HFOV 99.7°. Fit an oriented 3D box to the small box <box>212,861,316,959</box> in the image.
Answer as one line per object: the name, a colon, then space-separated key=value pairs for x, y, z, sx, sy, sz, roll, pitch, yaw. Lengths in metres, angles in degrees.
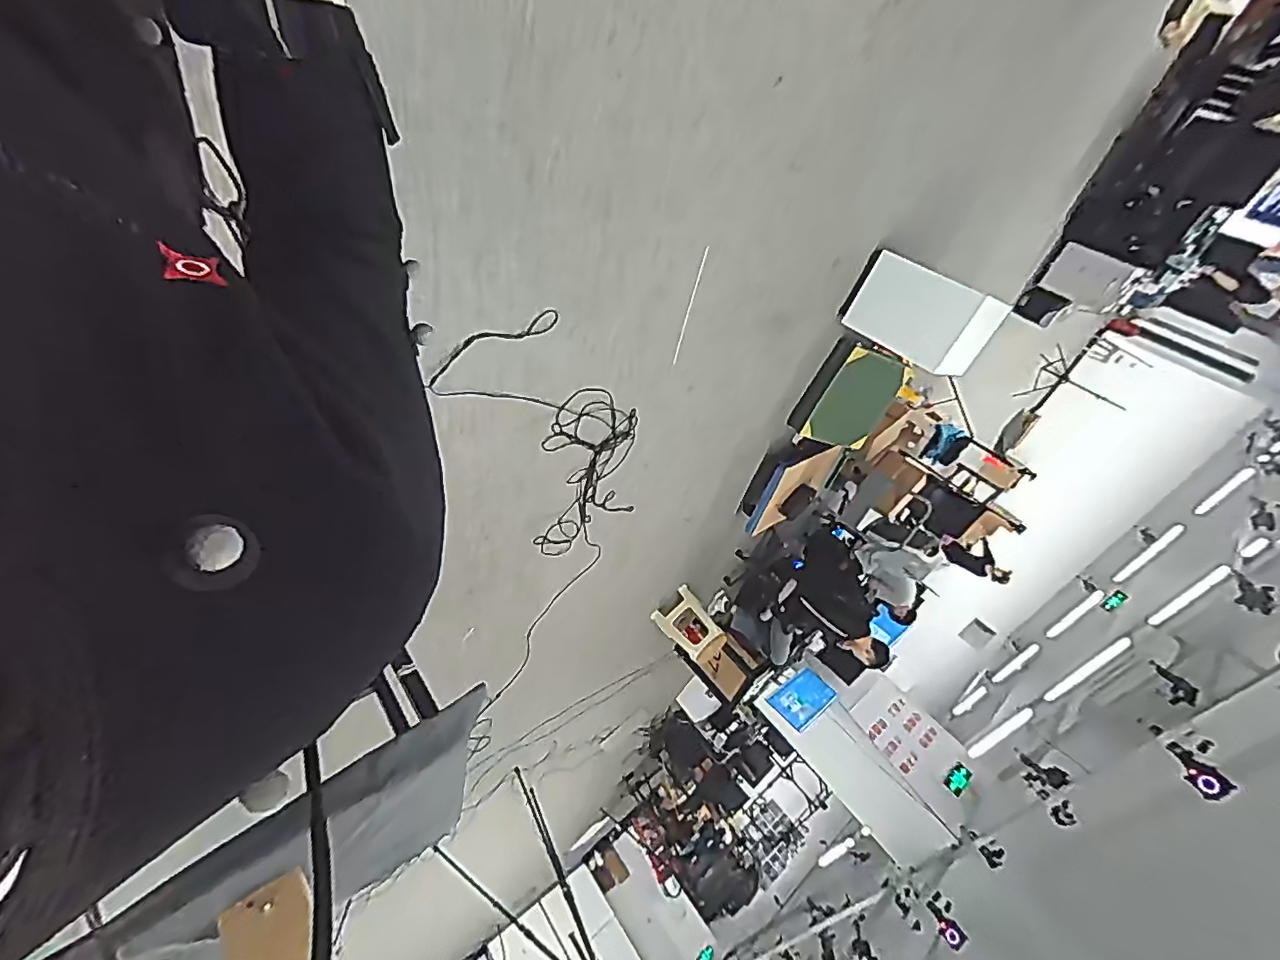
small box: x=-0.880 y=1.051 z=1.280 sx=0.168 sy=0.176 sz=0.179 roll=-20 pitch=141 yaw=-38

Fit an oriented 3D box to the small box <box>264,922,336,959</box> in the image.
small box: x=-0.774 y=1.148 z=1.204 sx=0.179 sy=0.176 sz=0.168 roll=-22 pitch=144 yaw=-38
